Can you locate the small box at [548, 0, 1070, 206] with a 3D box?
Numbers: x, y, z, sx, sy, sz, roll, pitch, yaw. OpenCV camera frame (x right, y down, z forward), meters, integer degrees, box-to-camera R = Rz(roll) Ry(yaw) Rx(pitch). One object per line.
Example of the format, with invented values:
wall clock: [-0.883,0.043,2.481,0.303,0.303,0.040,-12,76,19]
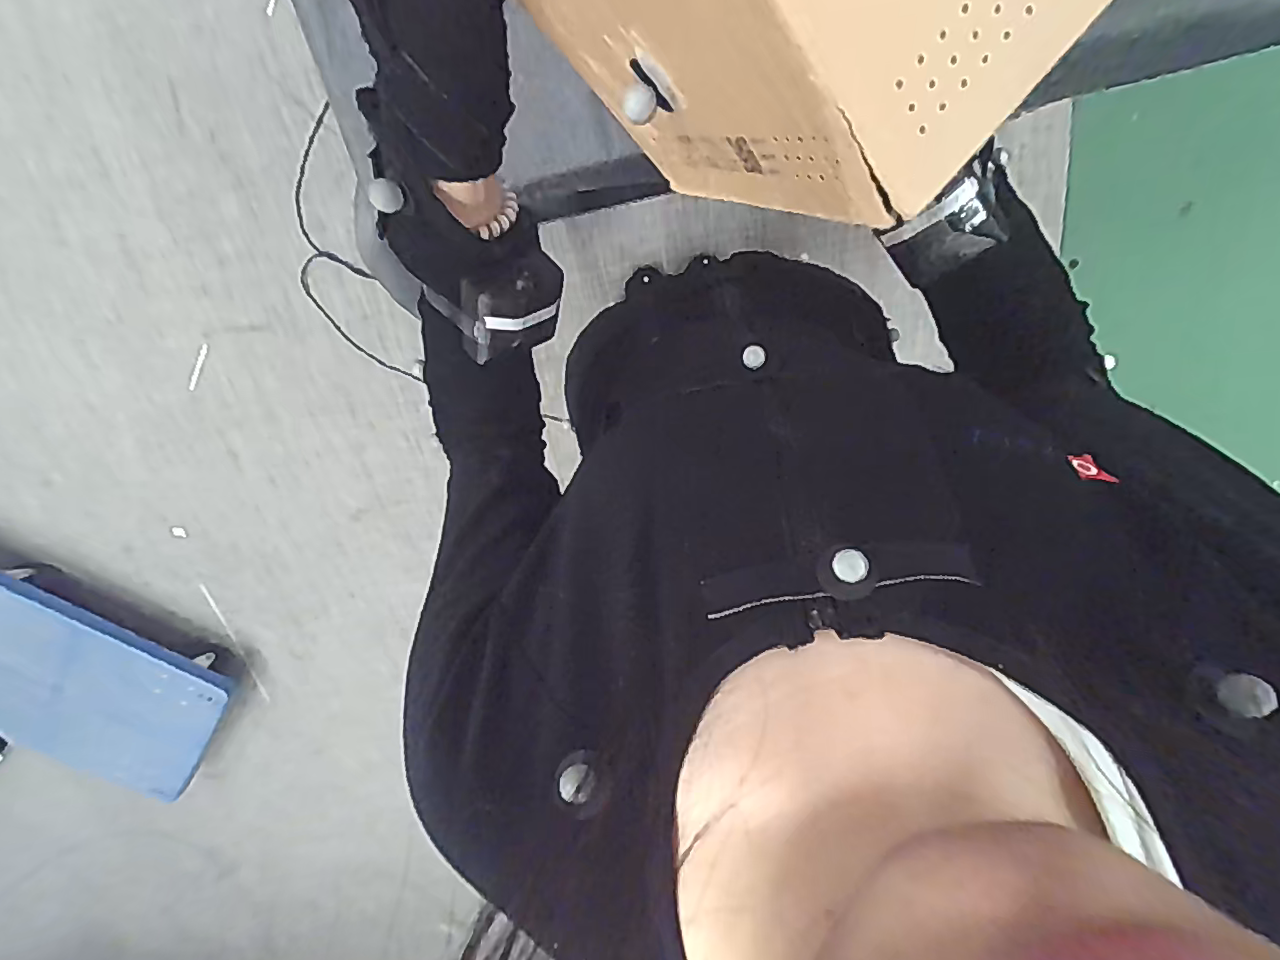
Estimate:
small box: [0.046,-0.215,0.151,0.176,0.168,0.179,34,103,-34]
